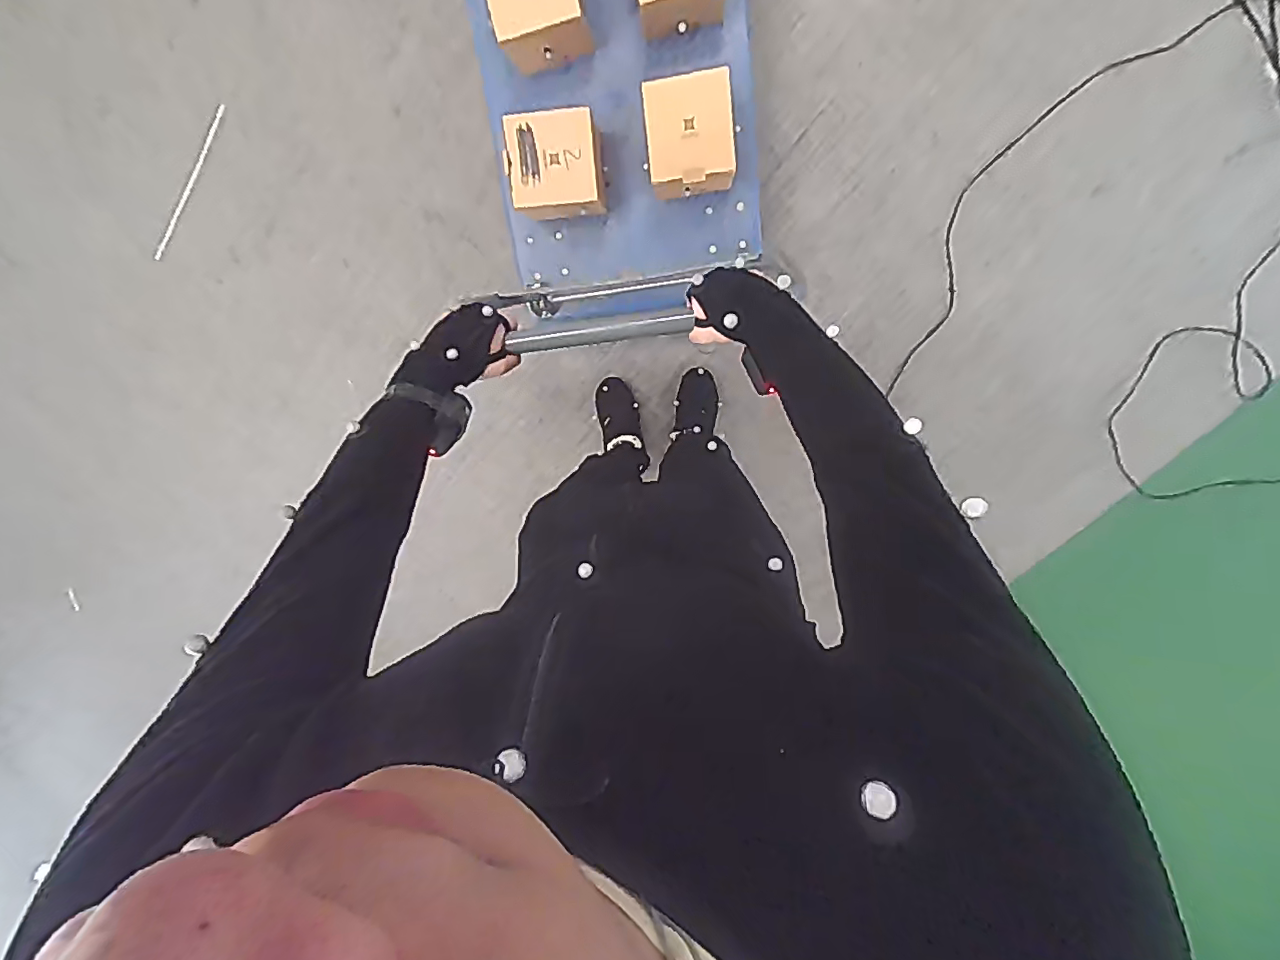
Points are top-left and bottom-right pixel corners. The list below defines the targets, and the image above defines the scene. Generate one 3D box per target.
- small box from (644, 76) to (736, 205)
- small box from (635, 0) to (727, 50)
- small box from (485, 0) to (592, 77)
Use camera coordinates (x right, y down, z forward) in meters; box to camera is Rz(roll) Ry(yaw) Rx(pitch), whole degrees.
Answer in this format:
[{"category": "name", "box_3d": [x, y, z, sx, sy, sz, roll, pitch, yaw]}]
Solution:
[{"category": "small box", "box_3d": [0.100, -0.684, 1.110, 0.168, 0.176, 0.179, -6, 108, 6]}, {"category": "small box", "box_3d": [0.066, -0.965, 1.018, 0.168, 0.176, 0.179, -11, 108, 8]}, {"category": "small box", "box_3d": [-0.200, -0.923, 1.052, 0.168, 0.176, 0.179, -11, 107, 7]}]
